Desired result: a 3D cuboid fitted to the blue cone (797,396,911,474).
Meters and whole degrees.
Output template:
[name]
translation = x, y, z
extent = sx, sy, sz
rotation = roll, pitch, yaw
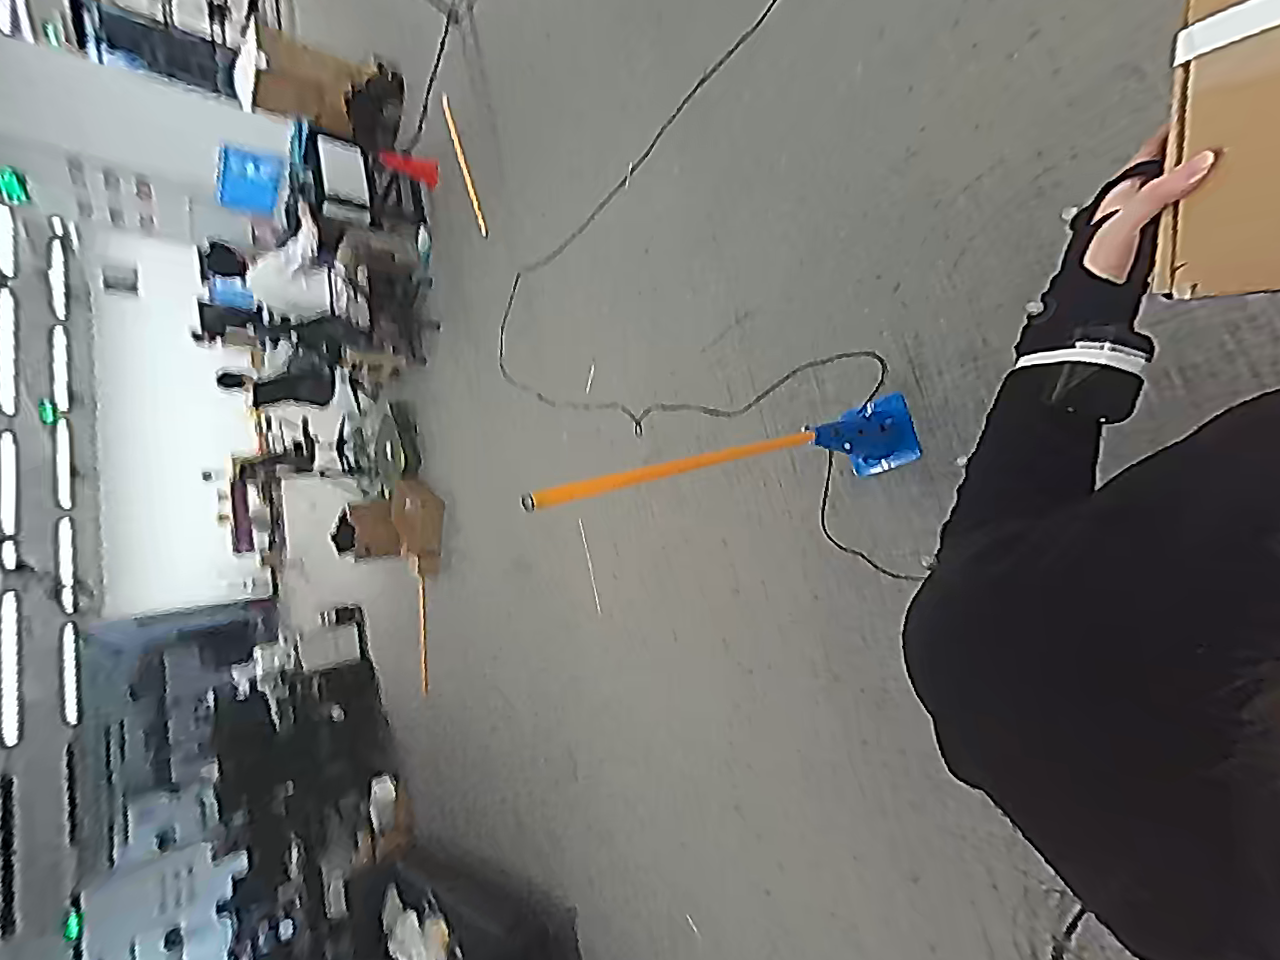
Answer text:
[blue cone]
translation = 0.540, -0.116, 1.431
extent = 0.192, 0.380, 0.193
rotation = -26, 75, 46
